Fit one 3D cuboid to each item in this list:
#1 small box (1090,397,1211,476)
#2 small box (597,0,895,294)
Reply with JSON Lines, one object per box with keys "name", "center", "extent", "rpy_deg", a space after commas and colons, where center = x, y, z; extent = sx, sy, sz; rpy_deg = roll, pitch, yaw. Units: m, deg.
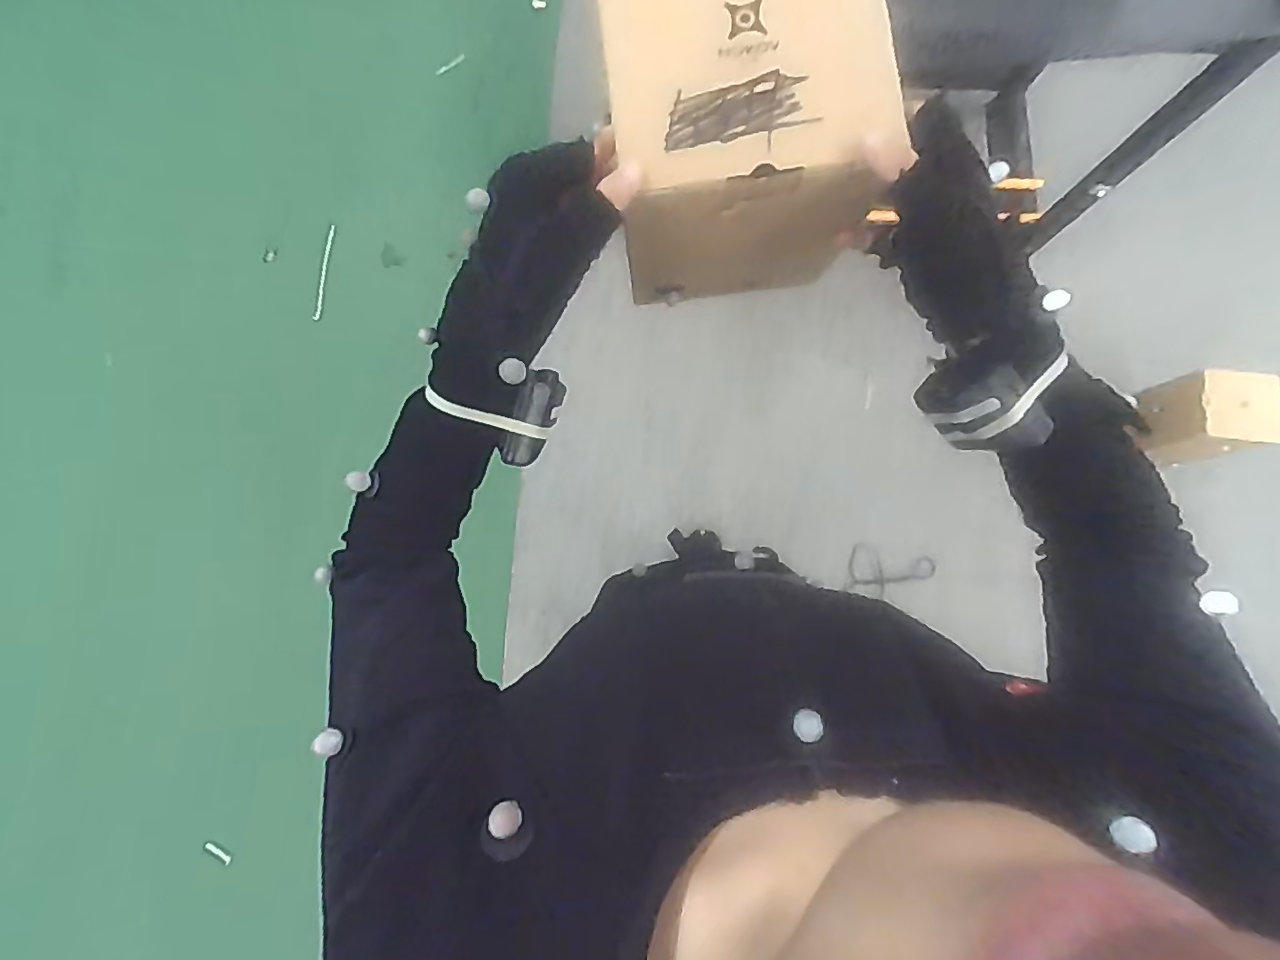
{"name": "small box", "center": [1.375, -0.111, 1.464], "extent": [0.179, 0.176, 0.168], "rpy_deg": [8, 79, 2]}
{"name": "small box", "center": [0.064, -0.254, 0.402], "extent": [0.168, 0.176, 0.179], "rpy_deg": [-7, 86, 2]}
